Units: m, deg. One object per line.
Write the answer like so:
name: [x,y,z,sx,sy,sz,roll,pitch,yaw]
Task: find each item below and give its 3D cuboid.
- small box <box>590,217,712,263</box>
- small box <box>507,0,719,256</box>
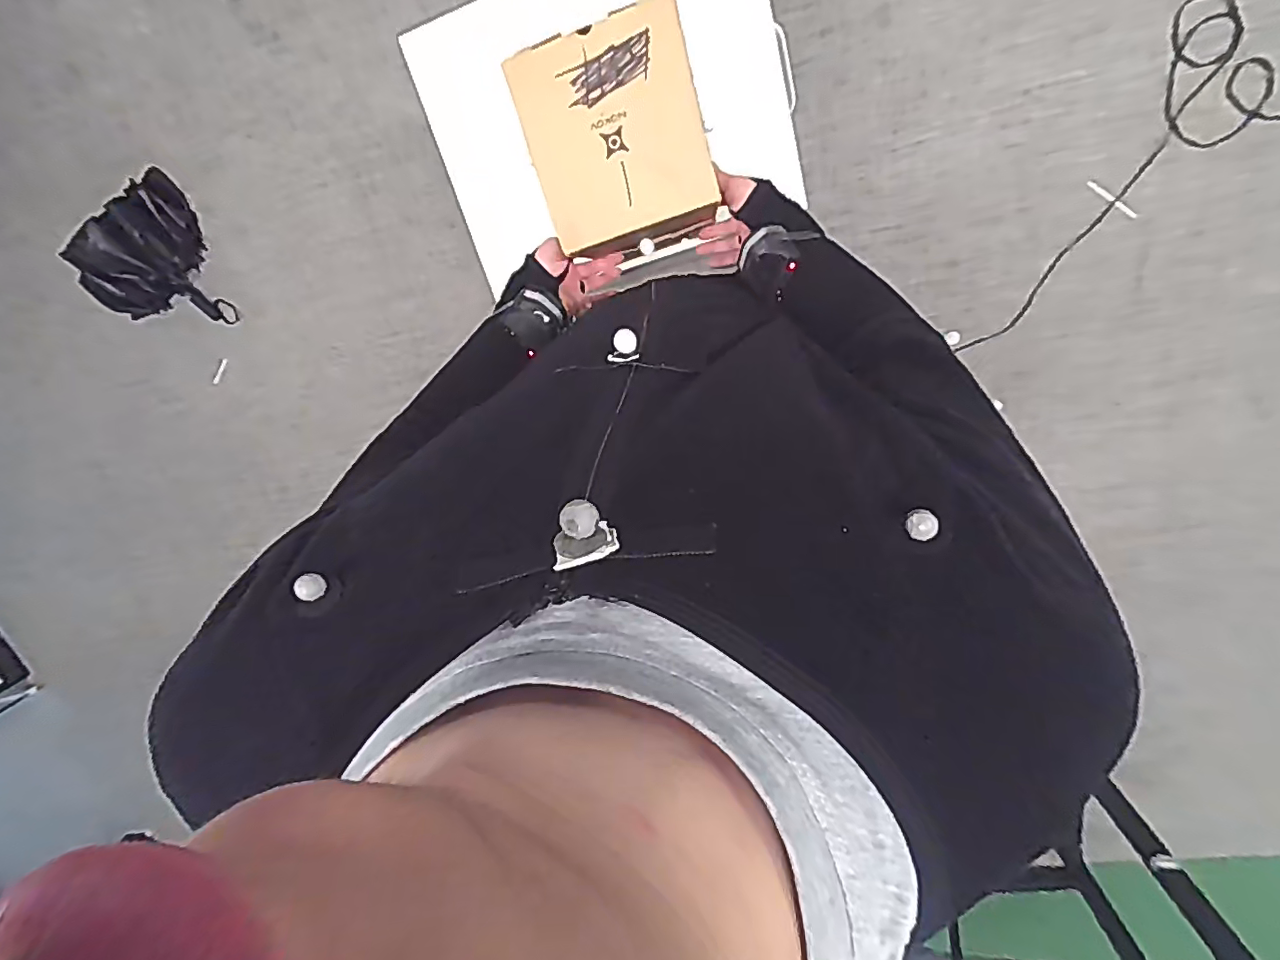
small box: [0.000,-0.409,0.738,0.168,0.176,0.179,-14,107,11]
small box: [-0.017,-0.355,0.584,0.168,0.176,0.179,-14,109,11]
